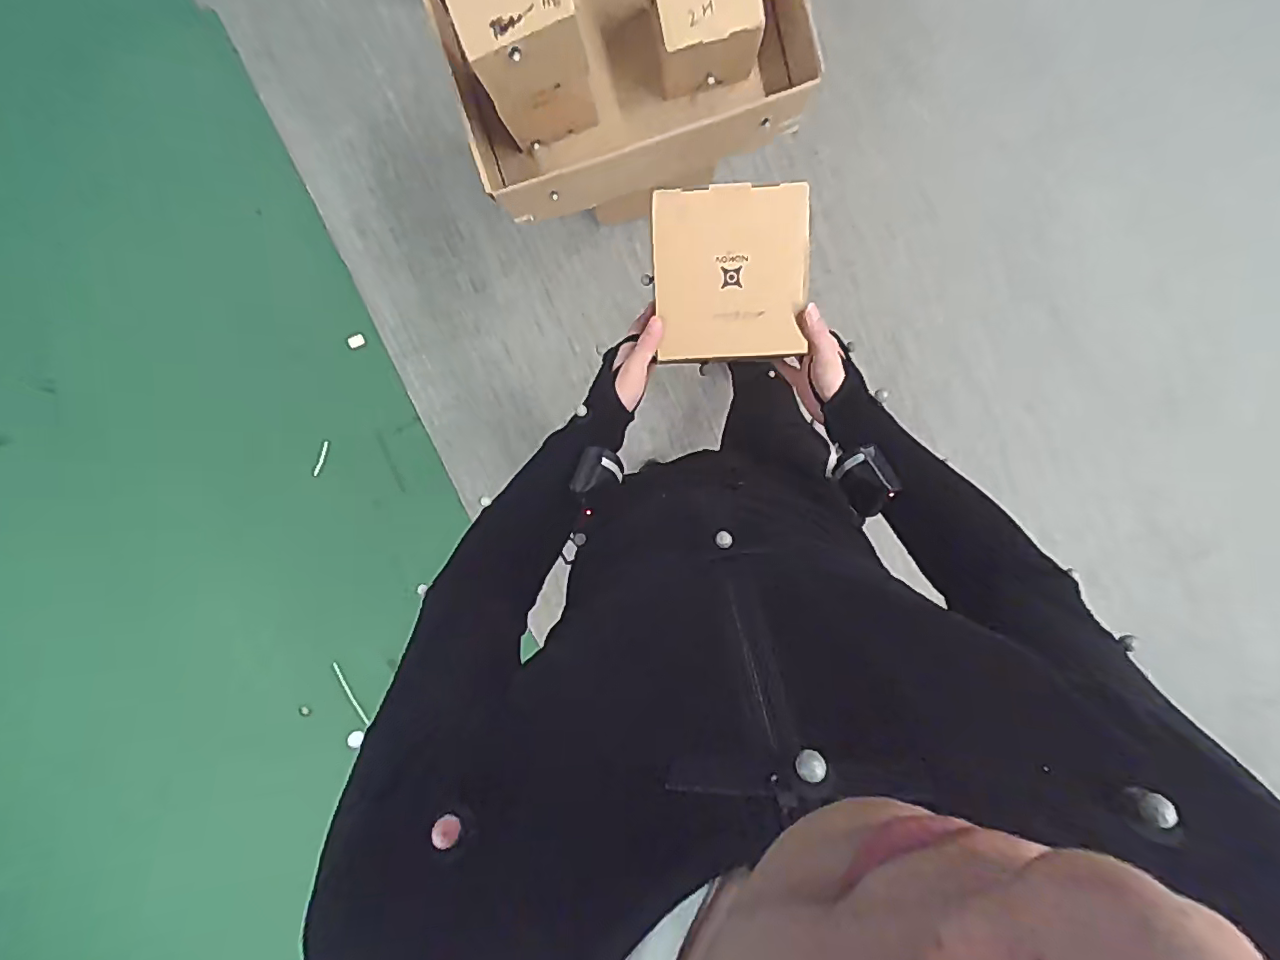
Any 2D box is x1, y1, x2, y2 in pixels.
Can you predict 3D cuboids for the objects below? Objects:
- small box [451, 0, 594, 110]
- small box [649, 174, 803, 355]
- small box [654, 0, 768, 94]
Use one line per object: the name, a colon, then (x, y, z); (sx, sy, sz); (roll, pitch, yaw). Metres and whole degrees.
small box: (-0.182, -0.713, 0.816); (0.168, 0.176, 0.179); (-18, 100, 8)
small box: (0.095, -0.248, 0.660); (0.168, 0.176, 0.179); (-2, 101, 3)
small box: (0.115, -0.822, 0.938); (0.168, 0.176, 0.179); (-11, 101, 7)
